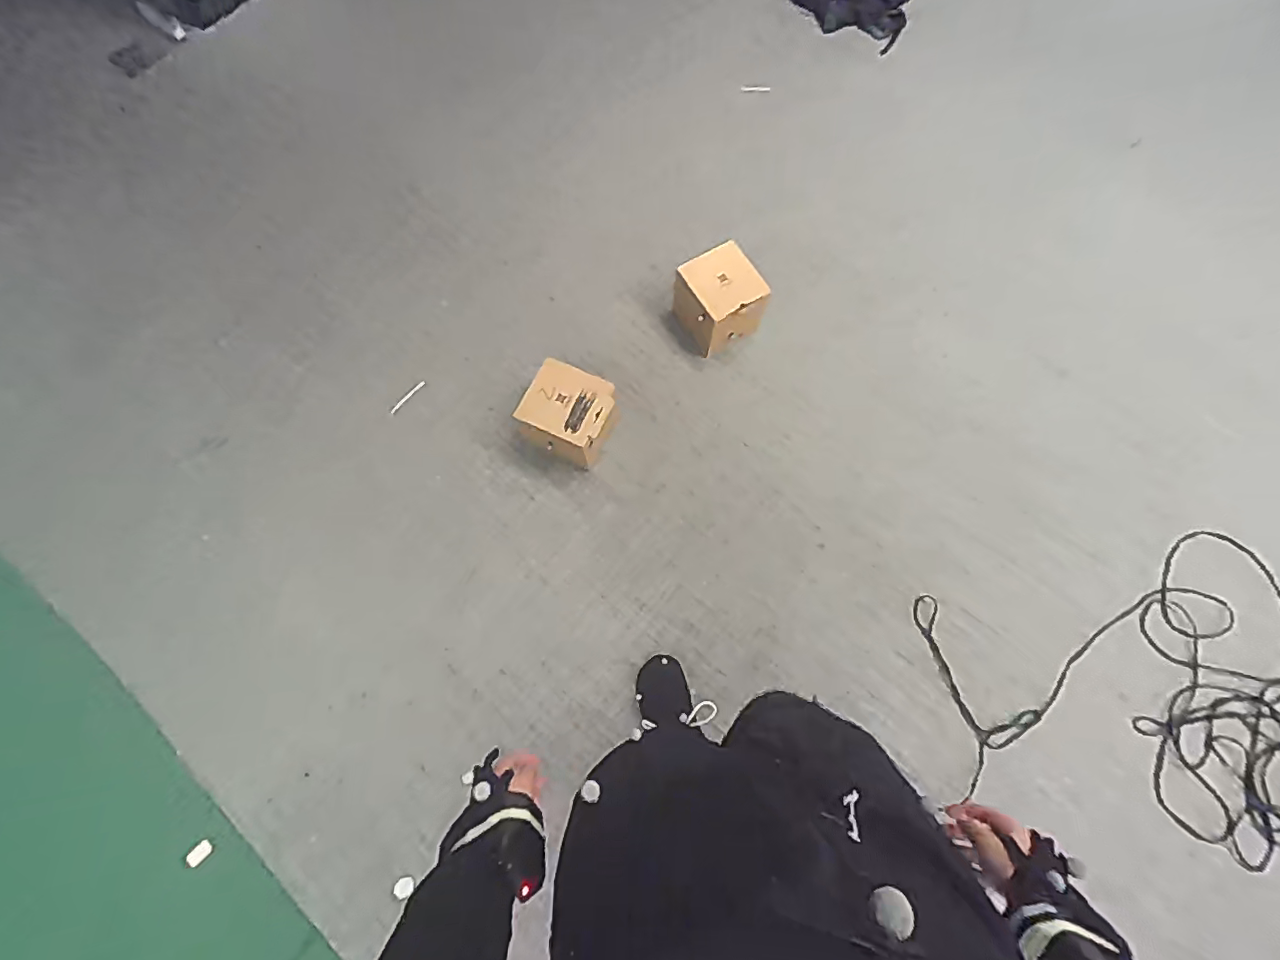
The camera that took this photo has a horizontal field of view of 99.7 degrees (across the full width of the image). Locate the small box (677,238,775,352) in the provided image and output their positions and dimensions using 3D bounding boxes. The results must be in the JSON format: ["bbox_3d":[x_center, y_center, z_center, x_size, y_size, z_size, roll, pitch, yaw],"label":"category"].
[{"bbox_3d":[0.207,-0.459,1.360,0.168,0.176,0.179,-29,76,-9],"label":"small box"}]
